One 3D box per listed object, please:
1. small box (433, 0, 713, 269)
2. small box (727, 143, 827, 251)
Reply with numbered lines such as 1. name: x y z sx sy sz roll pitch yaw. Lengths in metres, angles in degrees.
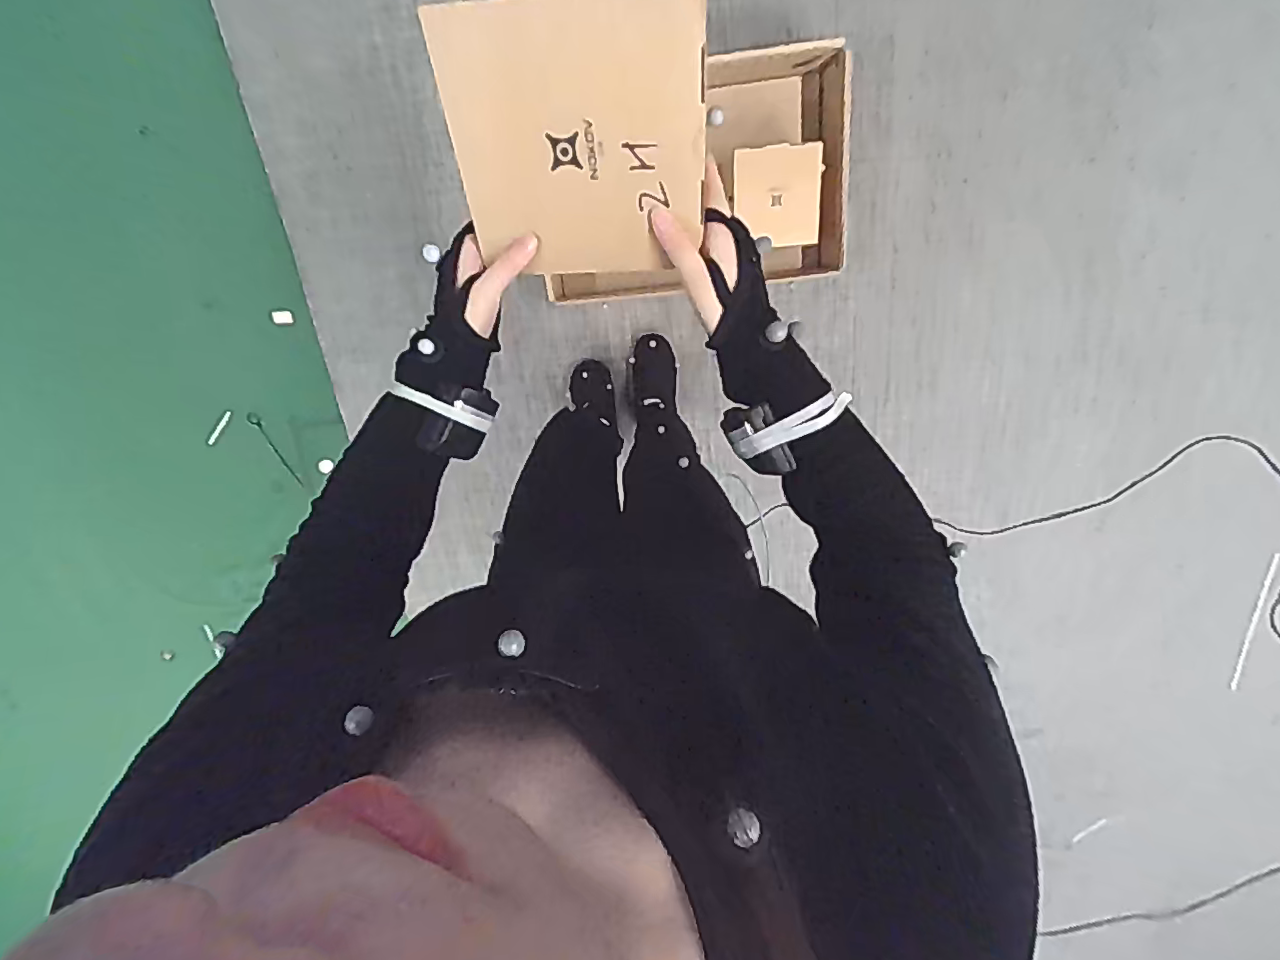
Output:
1. small box: -0.032 -0.284 0.437 0.179 0.176 0.168 1 133 6
2. small box: 0.270 -0.567 1.102 0.168 0.176 0.179 -3 112 3
